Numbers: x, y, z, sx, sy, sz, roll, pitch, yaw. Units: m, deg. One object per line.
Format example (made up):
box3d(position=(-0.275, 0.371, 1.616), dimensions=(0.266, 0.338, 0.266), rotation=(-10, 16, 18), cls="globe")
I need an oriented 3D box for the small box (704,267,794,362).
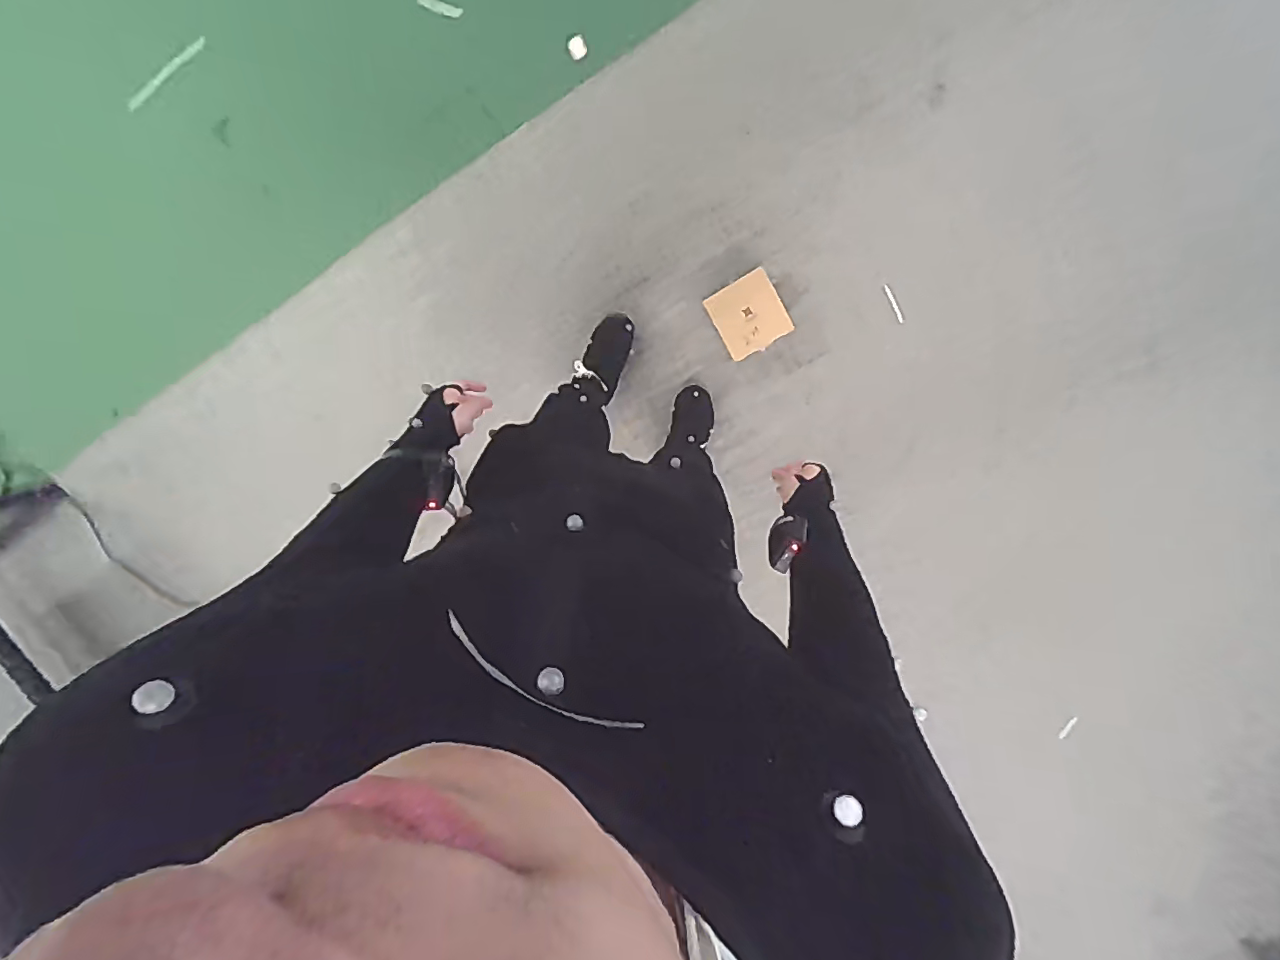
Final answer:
box3d(position=(0.277, -0.422, 1.404), dimensions=(0.168, 0.176, 0.179), rotation=(-28, 99, 13), cls="small box")
